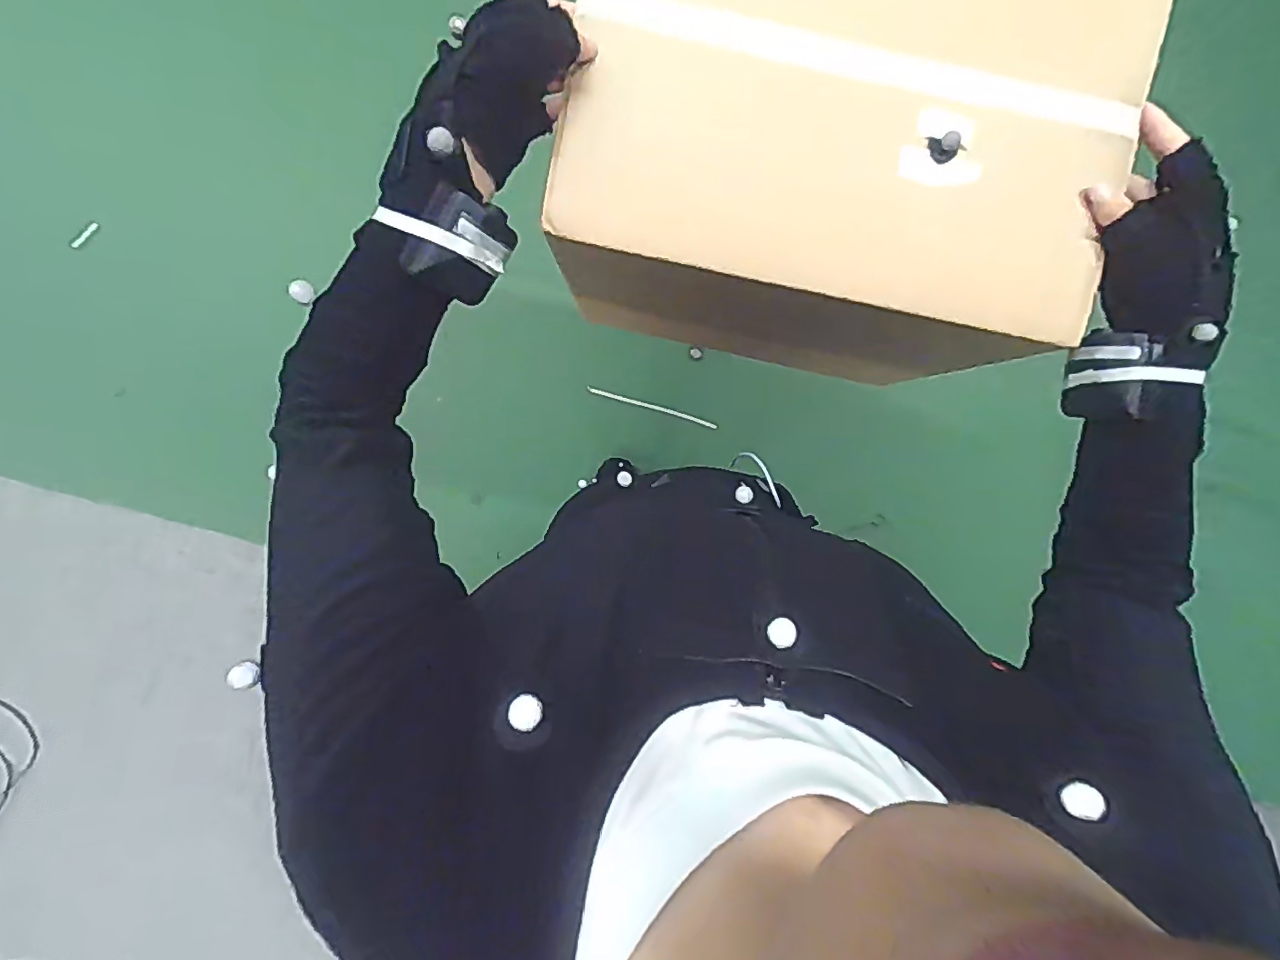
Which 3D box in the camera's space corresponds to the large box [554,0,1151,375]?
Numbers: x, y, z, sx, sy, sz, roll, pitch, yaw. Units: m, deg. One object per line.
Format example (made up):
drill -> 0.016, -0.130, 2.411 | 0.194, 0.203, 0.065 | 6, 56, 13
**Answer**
large box -> 0.153, -0.308, 0.540 | 0.408, 0.320, 0.320 | 11, 95, -1
